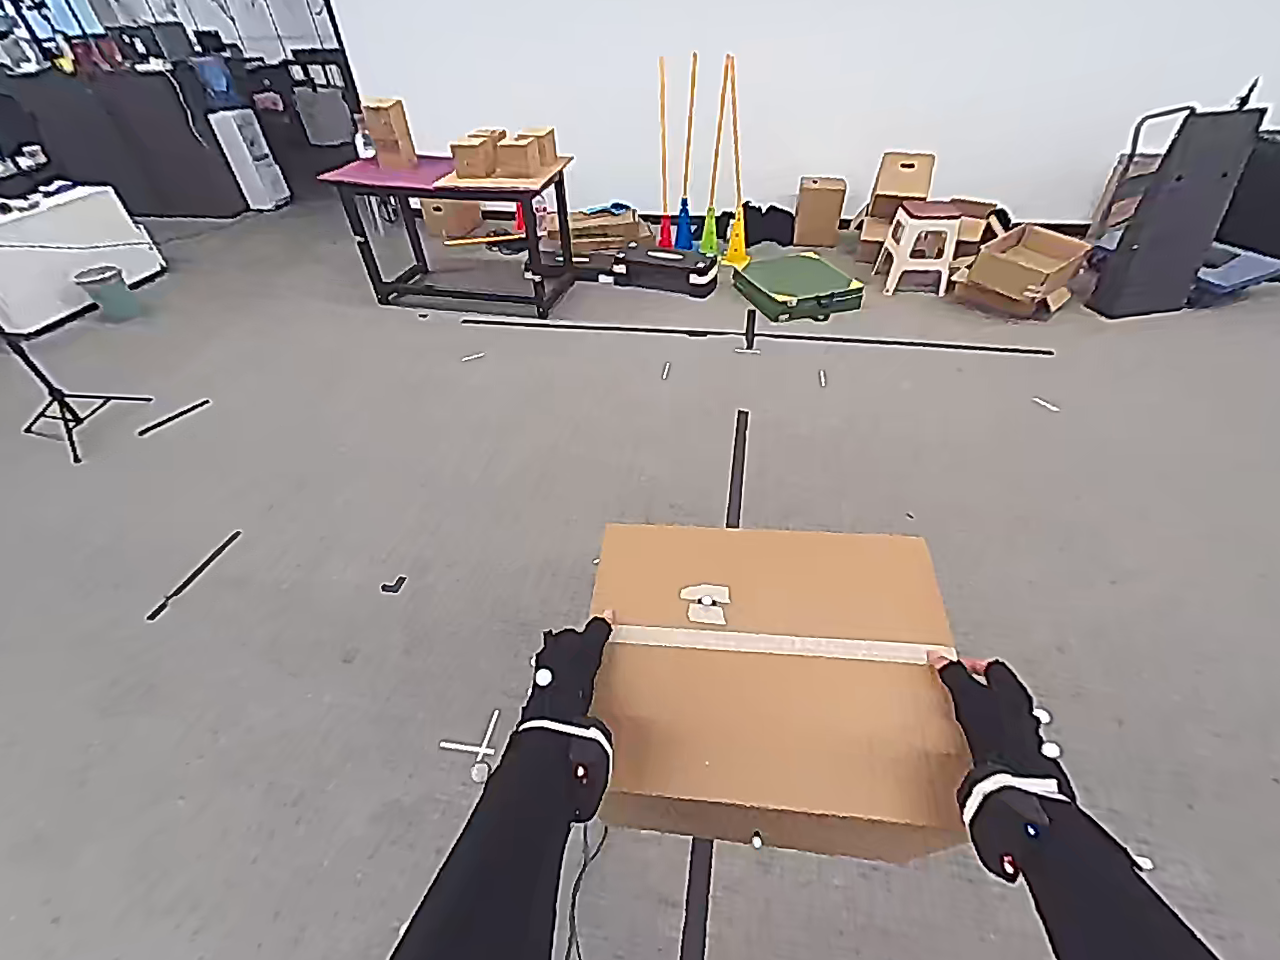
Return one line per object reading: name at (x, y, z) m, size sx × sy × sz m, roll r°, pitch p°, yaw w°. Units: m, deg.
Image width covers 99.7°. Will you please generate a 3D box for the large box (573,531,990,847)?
large box at (0.158, 0.283, 0.728) m, size 0.408 × 0.320 × 0.320 m, roll 1°, pitch 51°, yaw 8°
